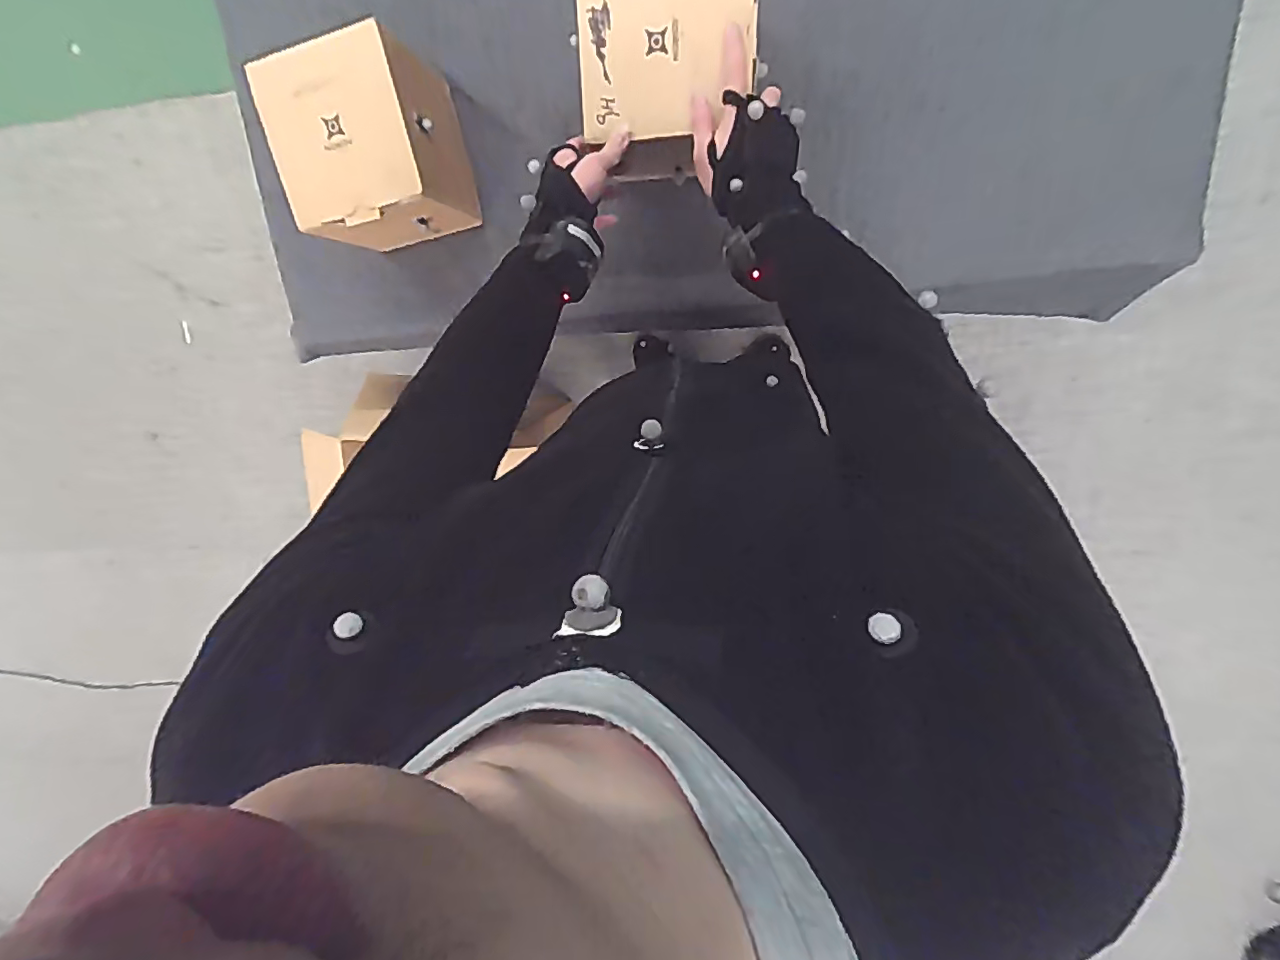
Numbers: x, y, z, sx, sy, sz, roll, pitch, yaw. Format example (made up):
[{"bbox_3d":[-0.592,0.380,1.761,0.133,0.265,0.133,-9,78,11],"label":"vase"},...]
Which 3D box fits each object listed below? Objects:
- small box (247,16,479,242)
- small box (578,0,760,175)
[{"bbox_3d":[-0.324,-0.409,0.672,0.168,0.176,0.179,-10,103,10],"label":"small box"},{"bbox_3d":[0.036,-0.452,0.599,0.179,0.176,0.168,0,107,8],"label":"small box"}]
